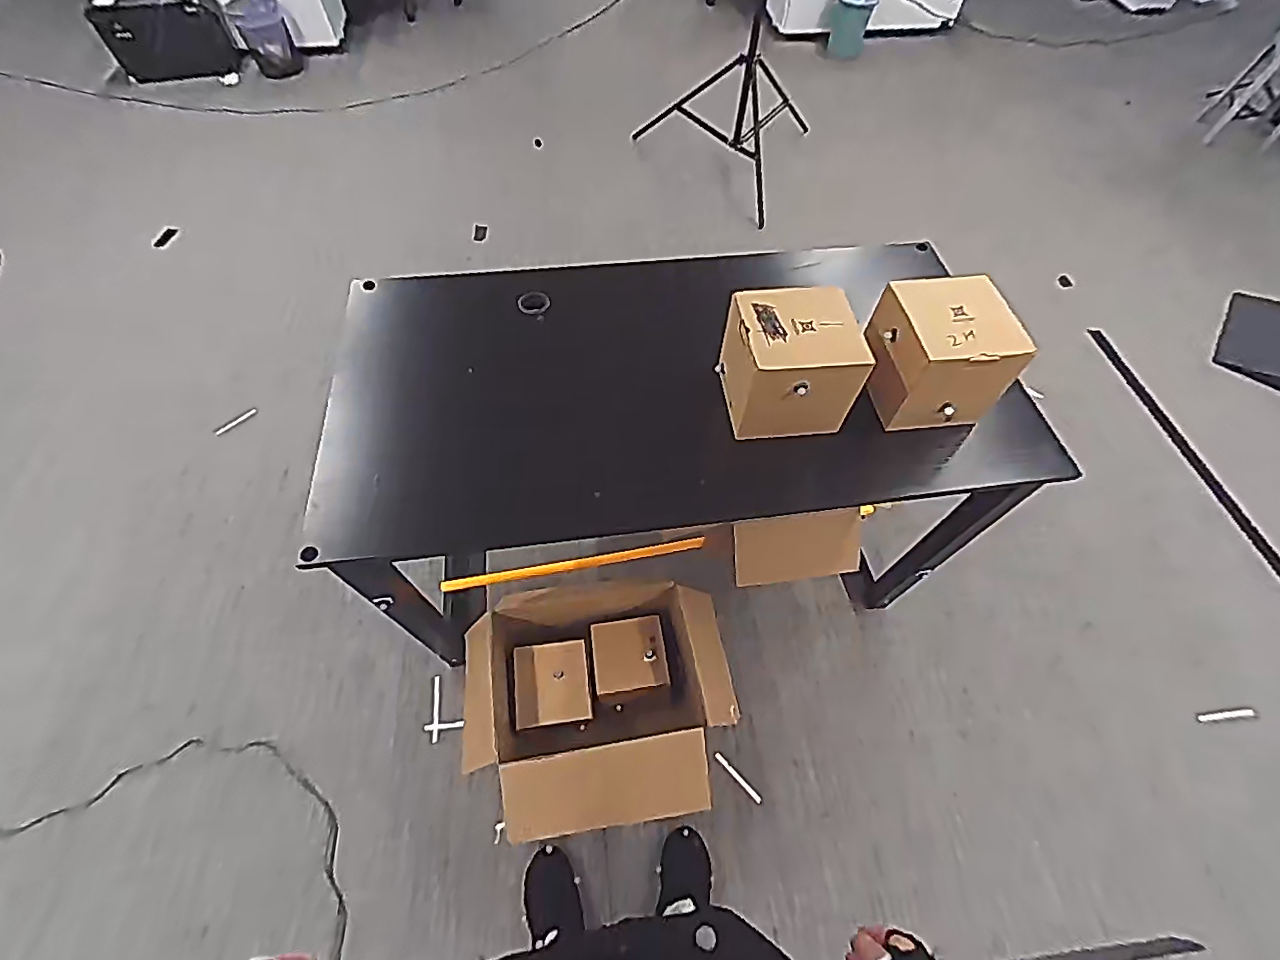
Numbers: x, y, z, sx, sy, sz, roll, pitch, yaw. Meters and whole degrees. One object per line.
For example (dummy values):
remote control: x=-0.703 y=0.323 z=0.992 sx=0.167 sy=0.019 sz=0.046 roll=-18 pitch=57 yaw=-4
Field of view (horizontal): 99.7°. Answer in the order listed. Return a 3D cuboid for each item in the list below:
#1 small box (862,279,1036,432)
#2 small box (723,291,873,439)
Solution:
small box: x=0.479 y=-0.200 z=0.883 sx=0.168 sy=0.176 sz=0.179 roll=-5 pitch=59 yaw=-3
small box: x=0.235 y=-0.178 z=0.865 sx=0.179 sy=0.176 sz=0.168 roll=-4 pitch=59 yaw=-5
